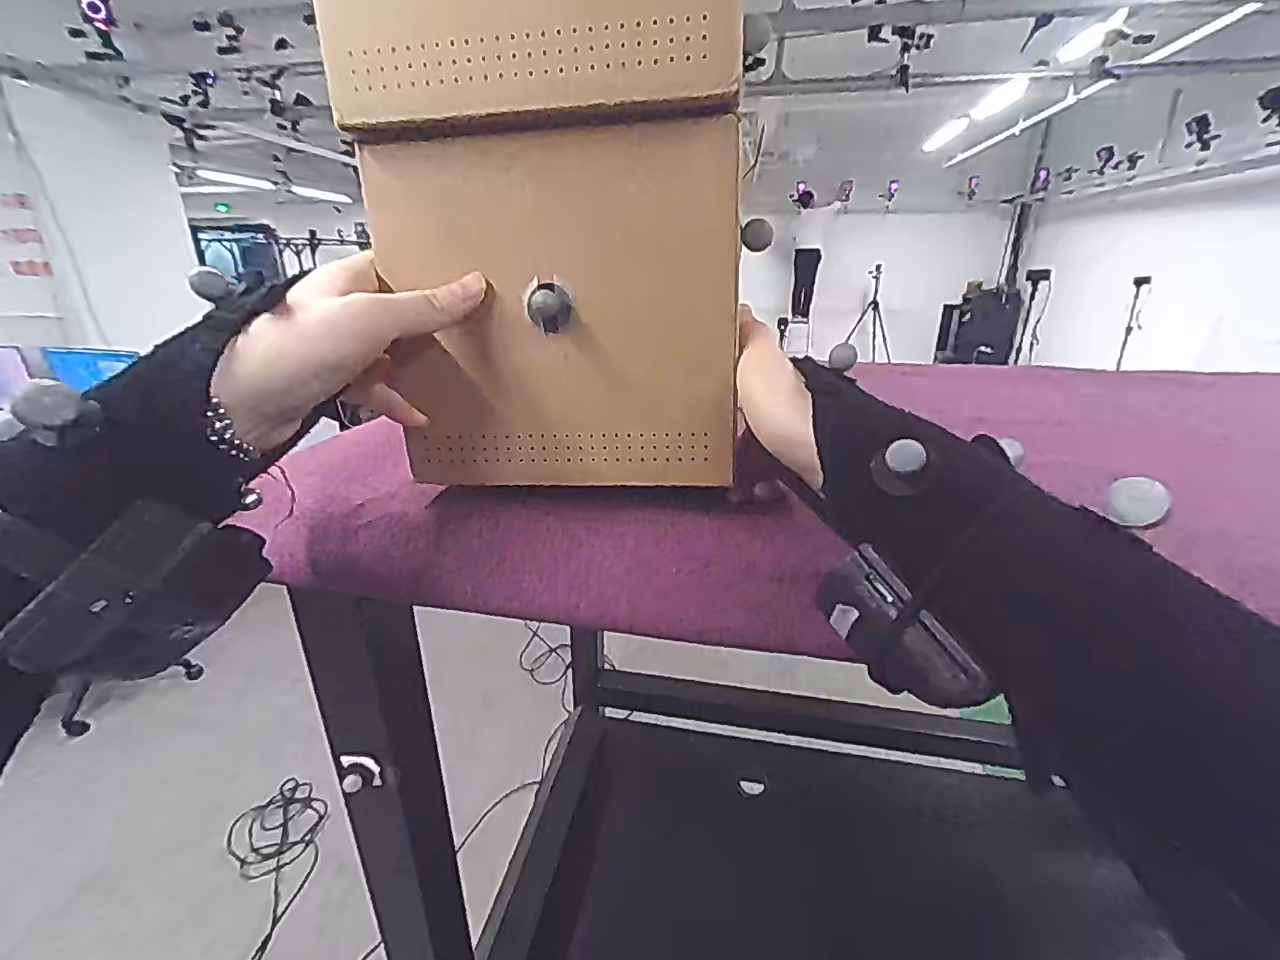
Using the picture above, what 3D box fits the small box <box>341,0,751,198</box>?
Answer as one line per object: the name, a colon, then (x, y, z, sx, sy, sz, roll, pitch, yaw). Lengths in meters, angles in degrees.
small box: (-0.035, -0.251, 0.277, 0.179, 0.176, 0.168, 2, 18, 7)
